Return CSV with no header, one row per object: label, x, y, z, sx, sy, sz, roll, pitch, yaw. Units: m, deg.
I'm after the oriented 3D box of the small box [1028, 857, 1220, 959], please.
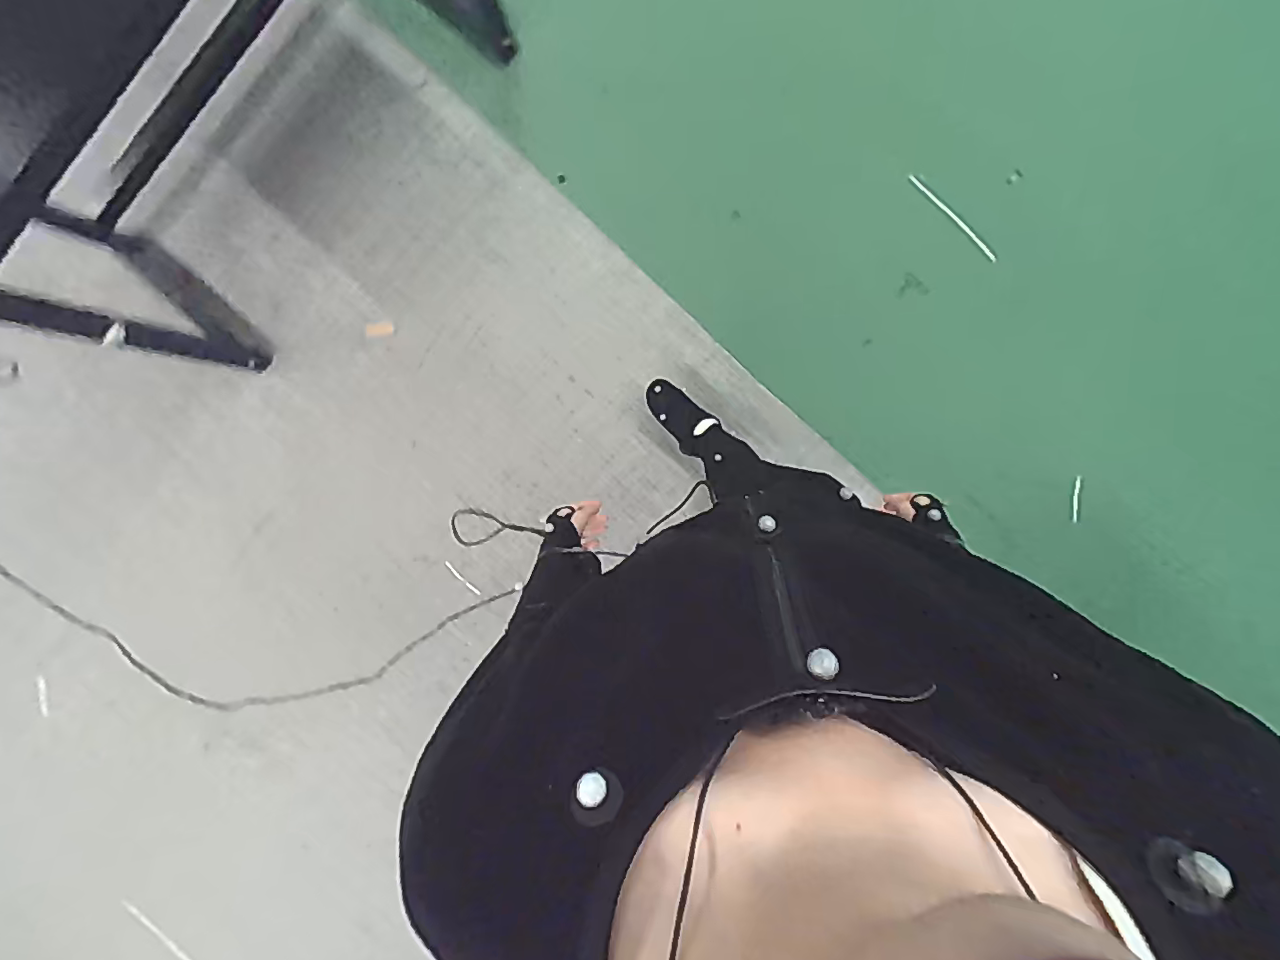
small box,0.745,0.717,0.812,0.168,0.176,0.179,-43,90,6
